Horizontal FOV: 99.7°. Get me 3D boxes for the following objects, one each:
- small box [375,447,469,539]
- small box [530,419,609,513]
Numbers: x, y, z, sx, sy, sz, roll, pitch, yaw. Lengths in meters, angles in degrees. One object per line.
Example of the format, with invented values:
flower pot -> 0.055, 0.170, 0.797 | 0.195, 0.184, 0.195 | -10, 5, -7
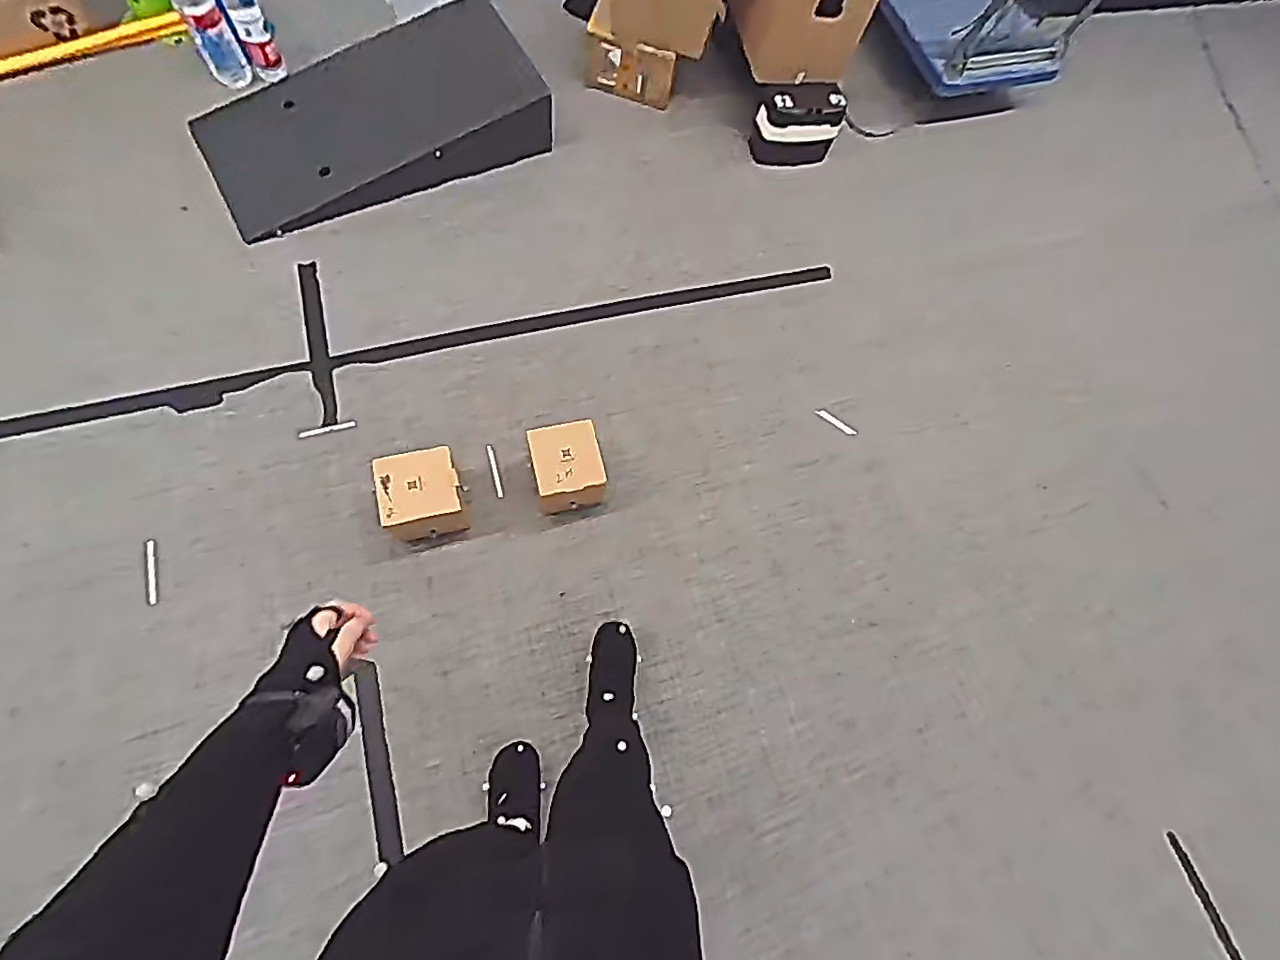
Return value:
small box -> -0.517, 0.035, 1.306 | 0.179, 0.176, 0.168 | -11, 74, -13
small box -> -0.184, -0.032, 1.380 | 0.168, 0.176, 0.179 | -11, 74, -12
